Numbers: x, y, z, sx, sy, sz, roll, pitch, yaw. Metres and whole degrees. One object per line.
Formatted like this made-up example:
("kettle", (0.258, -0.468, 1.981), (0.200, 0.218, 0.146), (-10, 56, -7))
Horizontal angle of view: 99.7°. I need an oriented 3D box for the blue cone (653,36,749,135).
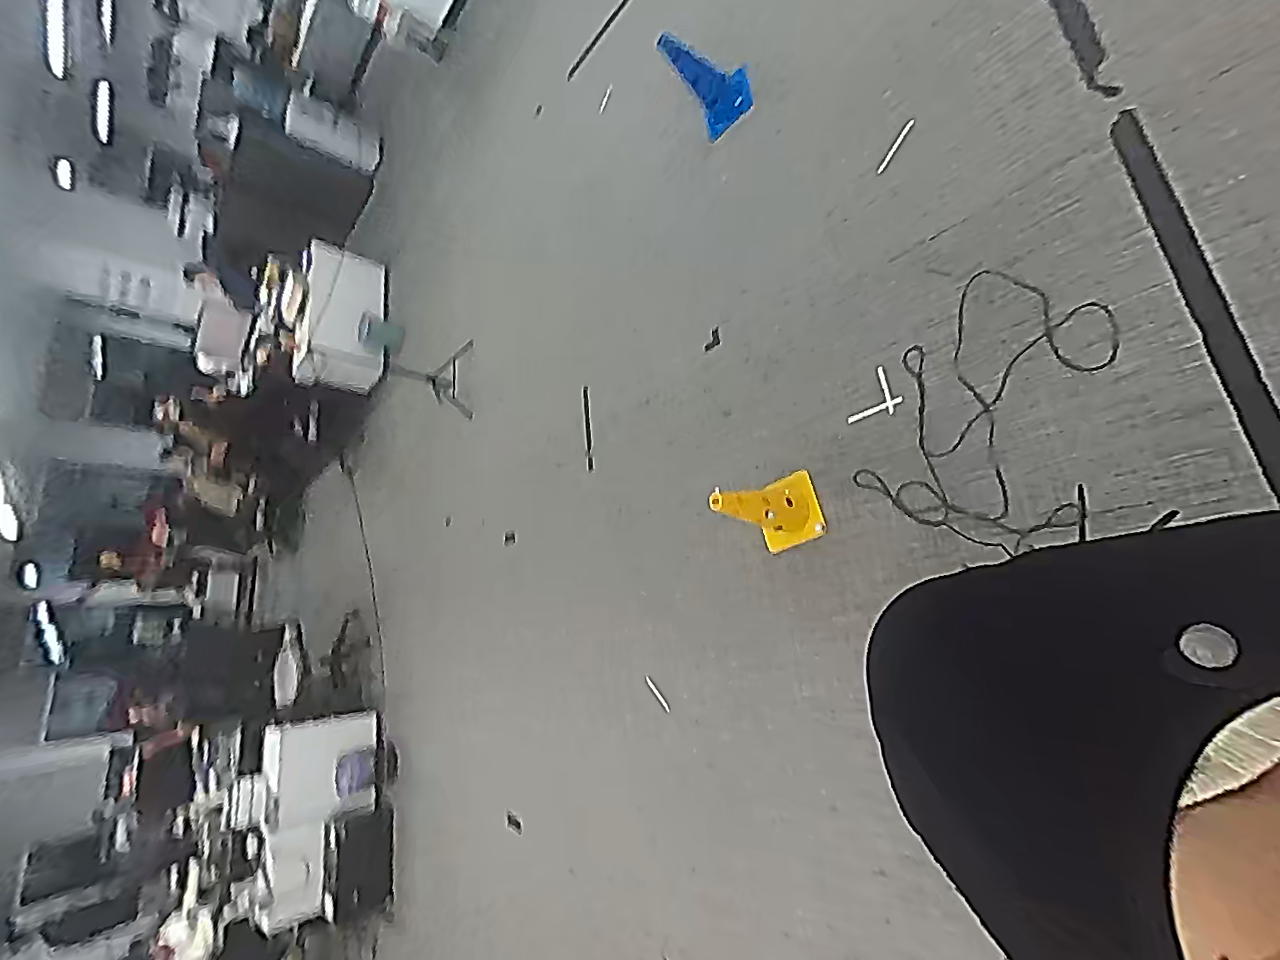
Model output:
("blue cone", (0.198, -1.414, 1.879), (0.192, 0.380, 0.193), (-22, 68, 44))
